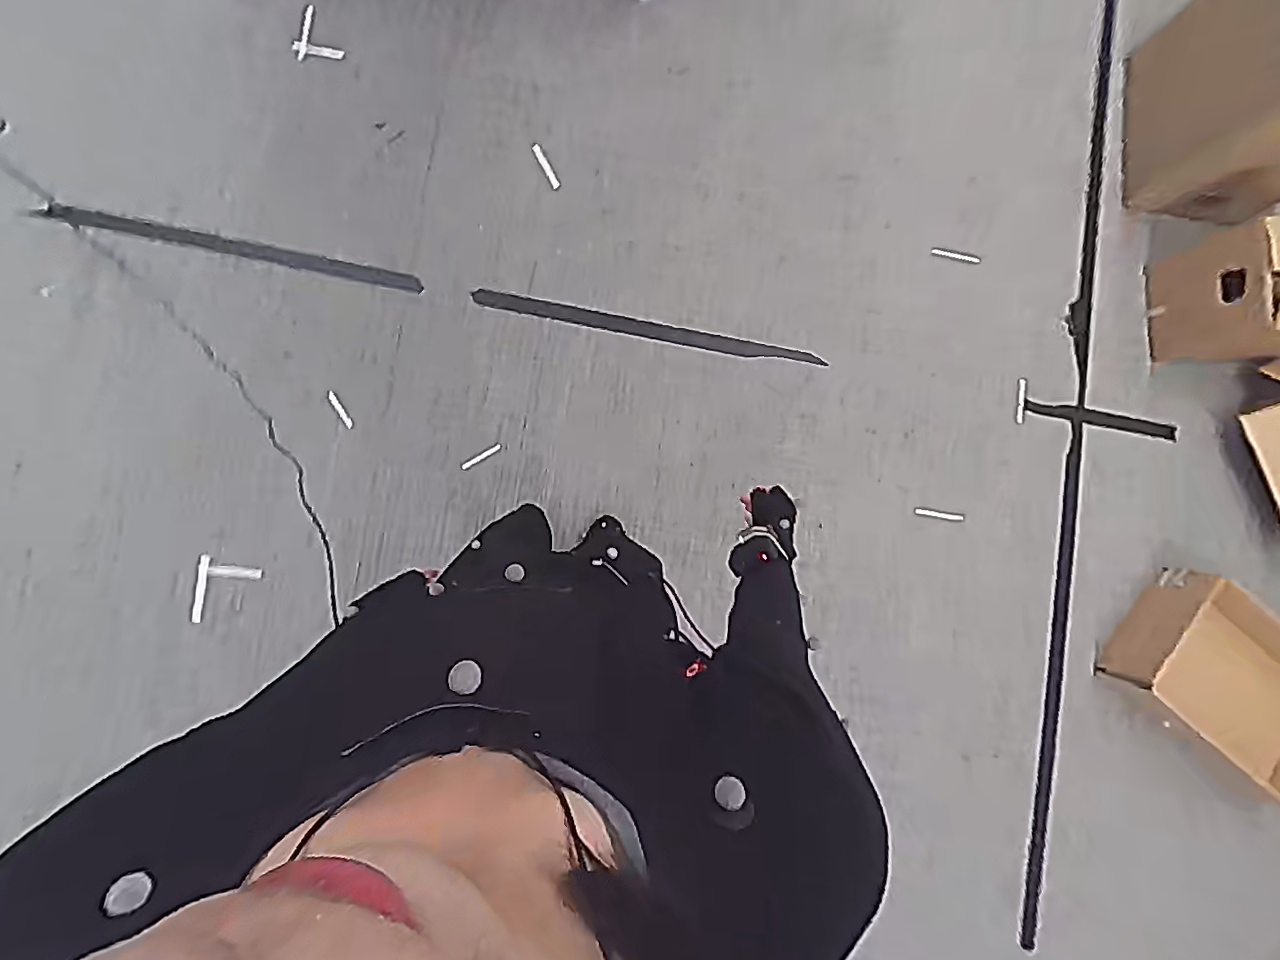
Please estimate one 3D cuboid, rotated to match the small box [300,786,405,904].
[{"bbox_3d":[-0.703,0.898,1.341,0.168,0.176,0.179,8,85,-5],"label":"small box"}]
